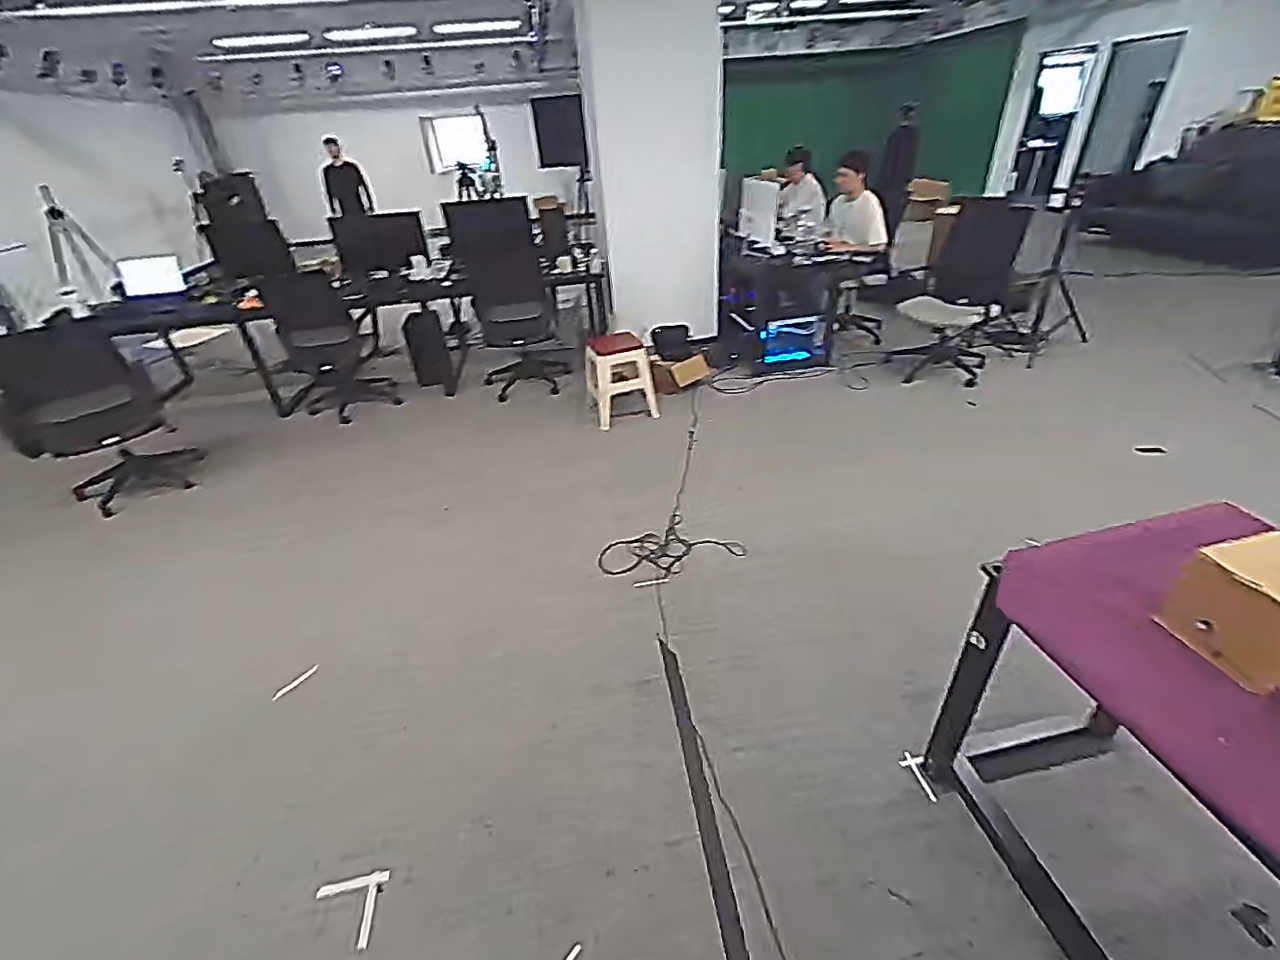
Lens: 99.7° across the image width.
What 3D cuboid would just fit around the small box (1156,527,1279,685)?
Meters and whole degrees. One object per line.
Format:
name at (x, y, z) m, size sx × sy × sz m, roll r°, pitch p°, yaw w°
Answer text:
small box at (1.023, 0.206, 0.888) m, size 0.179 × 0.176 × 0.168 m, roll -11°, pitch 34°, yaw -7°
